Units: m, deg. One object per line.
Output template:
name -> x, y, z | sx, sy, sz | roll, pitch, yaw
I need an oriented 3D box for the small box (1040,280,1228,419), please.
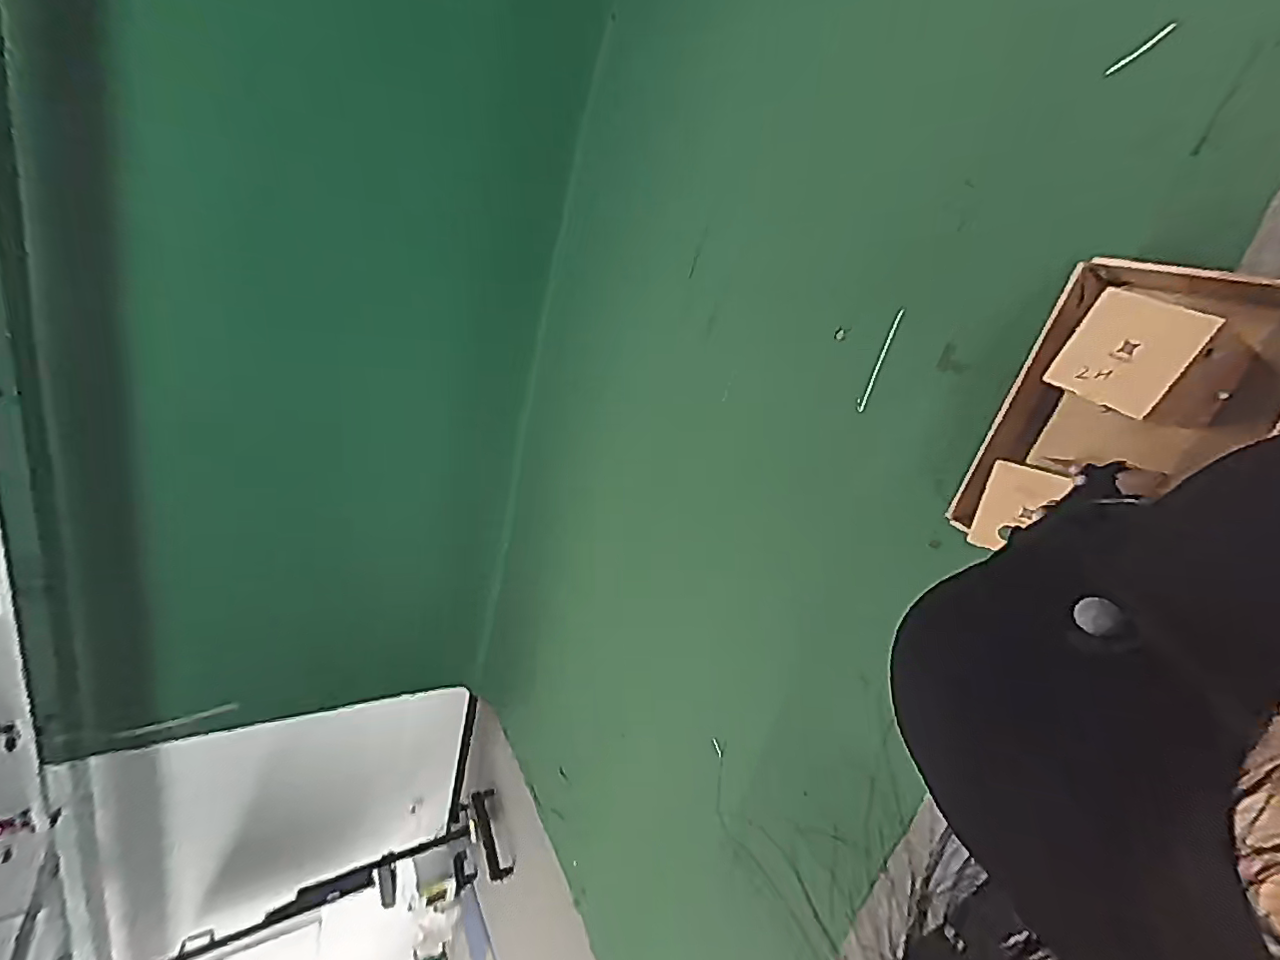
small box -> 0.856, -0.220, 0.939 | 0.168, 0.176, 0.179 | 48, 127, 43

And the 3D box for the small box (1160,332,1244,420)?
small box -> 0.987, -0.222, 1.039 | 0.179, 0.176, 0.168 | 46, 126, 42

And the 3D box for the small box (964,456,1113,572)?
small box -> 0.773, 0.061, 1.047 | 0.168, 0.176, 0.179 | 26, 109, 49
